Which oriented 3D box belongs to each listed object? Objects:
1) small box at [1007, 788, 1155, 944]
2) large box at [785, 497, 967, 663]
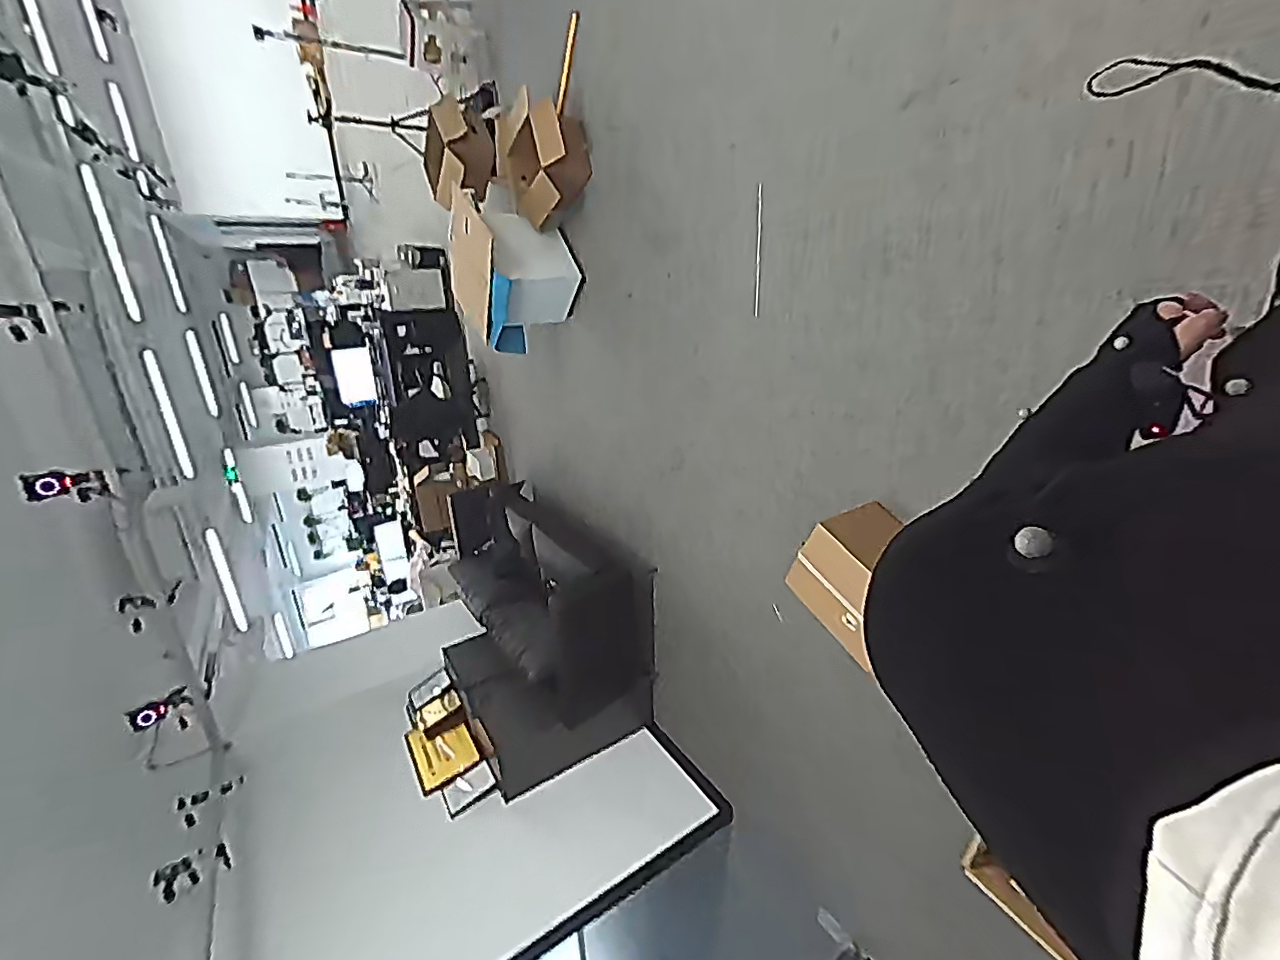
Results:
[{"bbox_3d":[0.921,0.798,1.131,0.168,0.176,0.179,36,131,46],"label":"small box"},{"bbox_3d":[0.781,0.322,1.834,0.408,0.320,0.320,49,141,34],"label":"large box"}]
